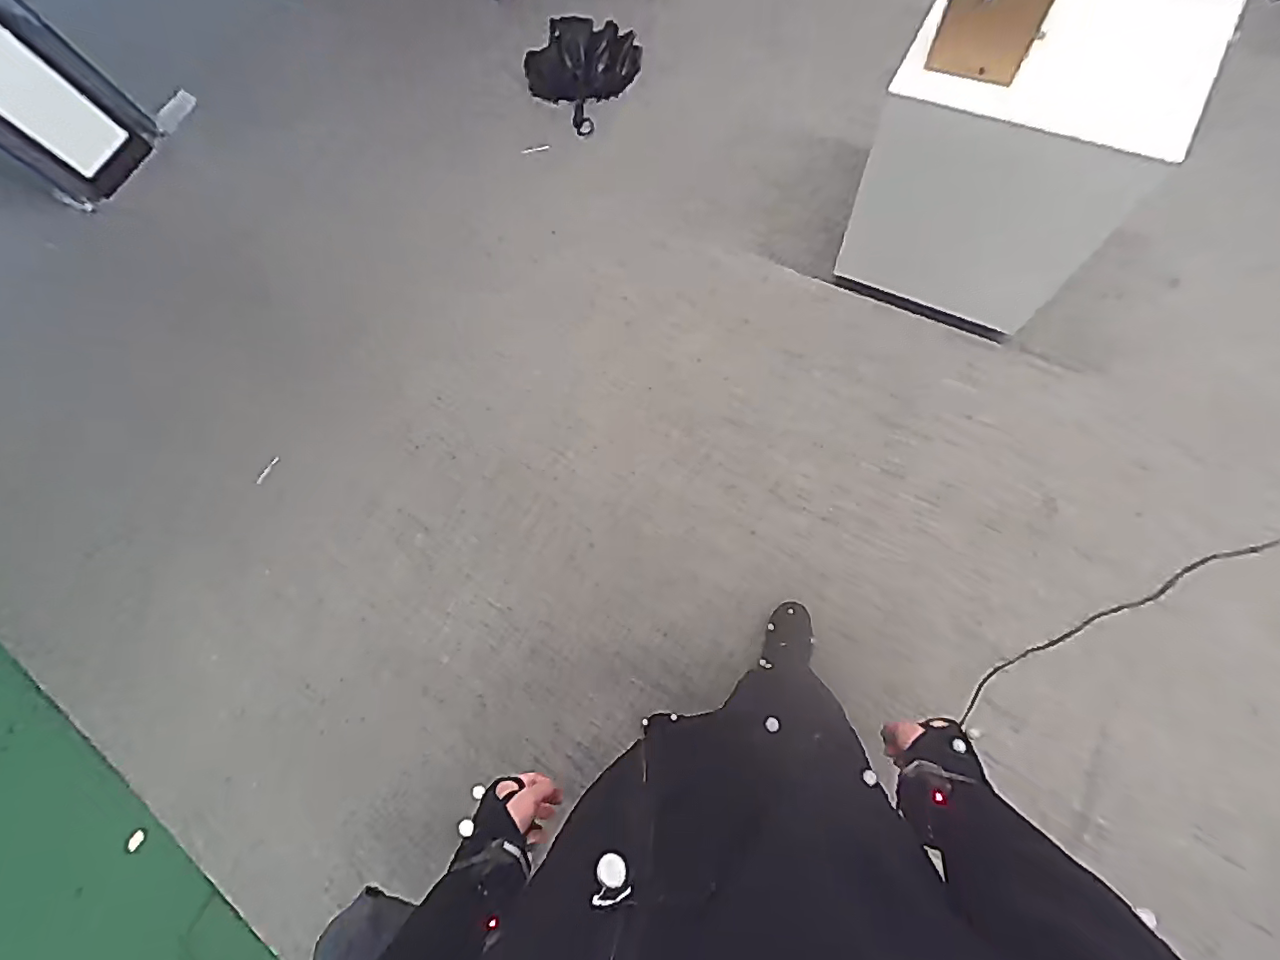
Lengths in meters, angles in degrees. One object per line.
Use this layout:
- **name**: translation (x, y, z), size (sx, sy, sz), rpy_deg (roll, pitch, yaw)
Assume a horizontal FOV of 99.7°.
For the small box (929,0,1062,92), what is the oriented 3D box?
- **small box**: translation (0.651, -0.851, 0.968), size (0.168, 0.176, 0.179), rpy_deg (25, 78, 15)
